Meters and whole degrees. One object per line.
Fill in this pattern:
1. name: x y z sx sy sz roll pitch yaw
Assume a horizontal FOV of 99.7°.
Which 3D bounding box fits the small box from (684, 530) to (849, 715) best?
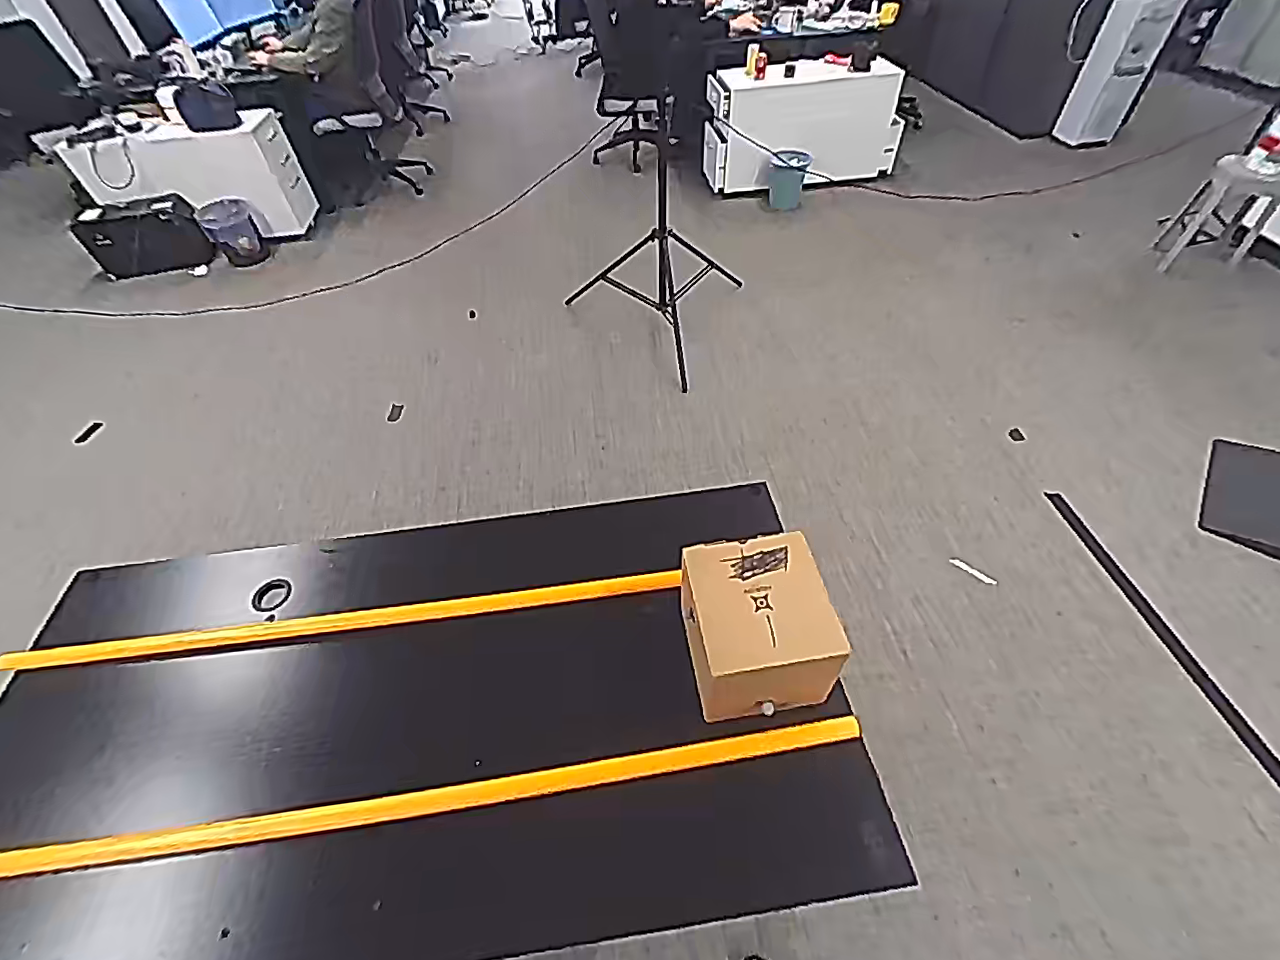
1. small box: 0.154 0.194 0.732 0.168 0.176 0.179 -8 50 -3
